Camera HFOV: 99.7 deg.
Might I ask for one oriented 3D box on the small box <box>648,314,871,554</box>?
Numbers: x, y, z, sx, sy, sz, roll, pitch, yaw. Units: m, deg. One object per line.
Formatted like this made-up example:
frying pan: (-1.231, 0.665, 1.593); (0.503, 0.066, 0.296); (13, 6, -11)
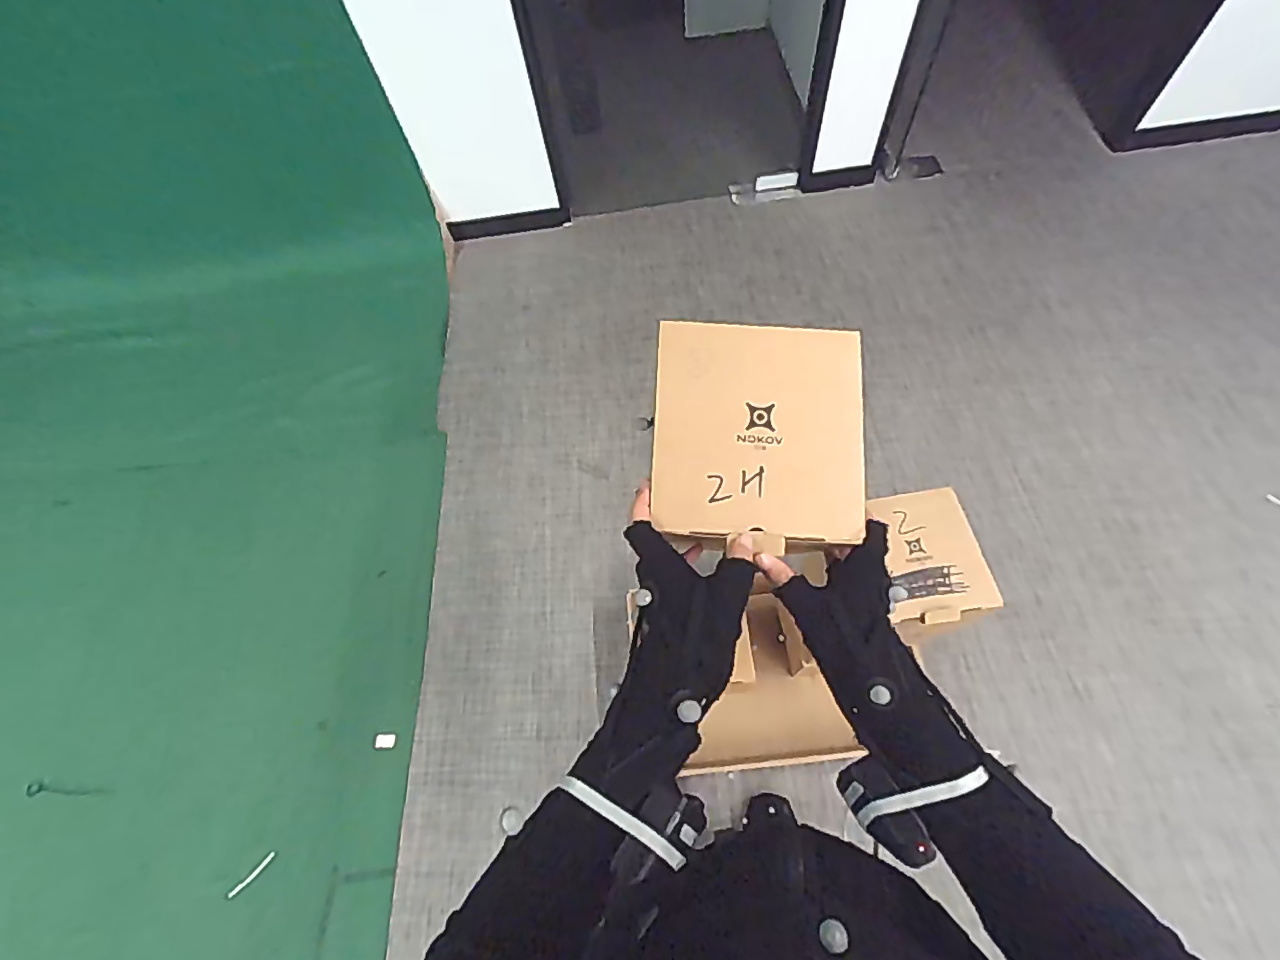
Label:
small box: (0.095, -0.029, 0.500); (0.168, 0.176, 0.179); (3, 79, 0)

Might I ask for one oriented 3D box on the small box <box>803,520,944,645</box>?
small box: (0.397, 0.189, 0.955); (0.168, 0.176, 0.179); (-7, 63, 2)

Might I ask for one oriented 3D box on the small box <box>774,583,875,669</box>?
small box: (0.418, 0.331, 1.250); (0.168, 0.176, 0.179); (-12, 62, 2)

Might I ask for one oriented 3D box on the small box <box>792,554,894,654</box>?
small box: (0.413, 0.248, 1.089); (0.168, 0.176, 0.179); (-8, 63, 3)
